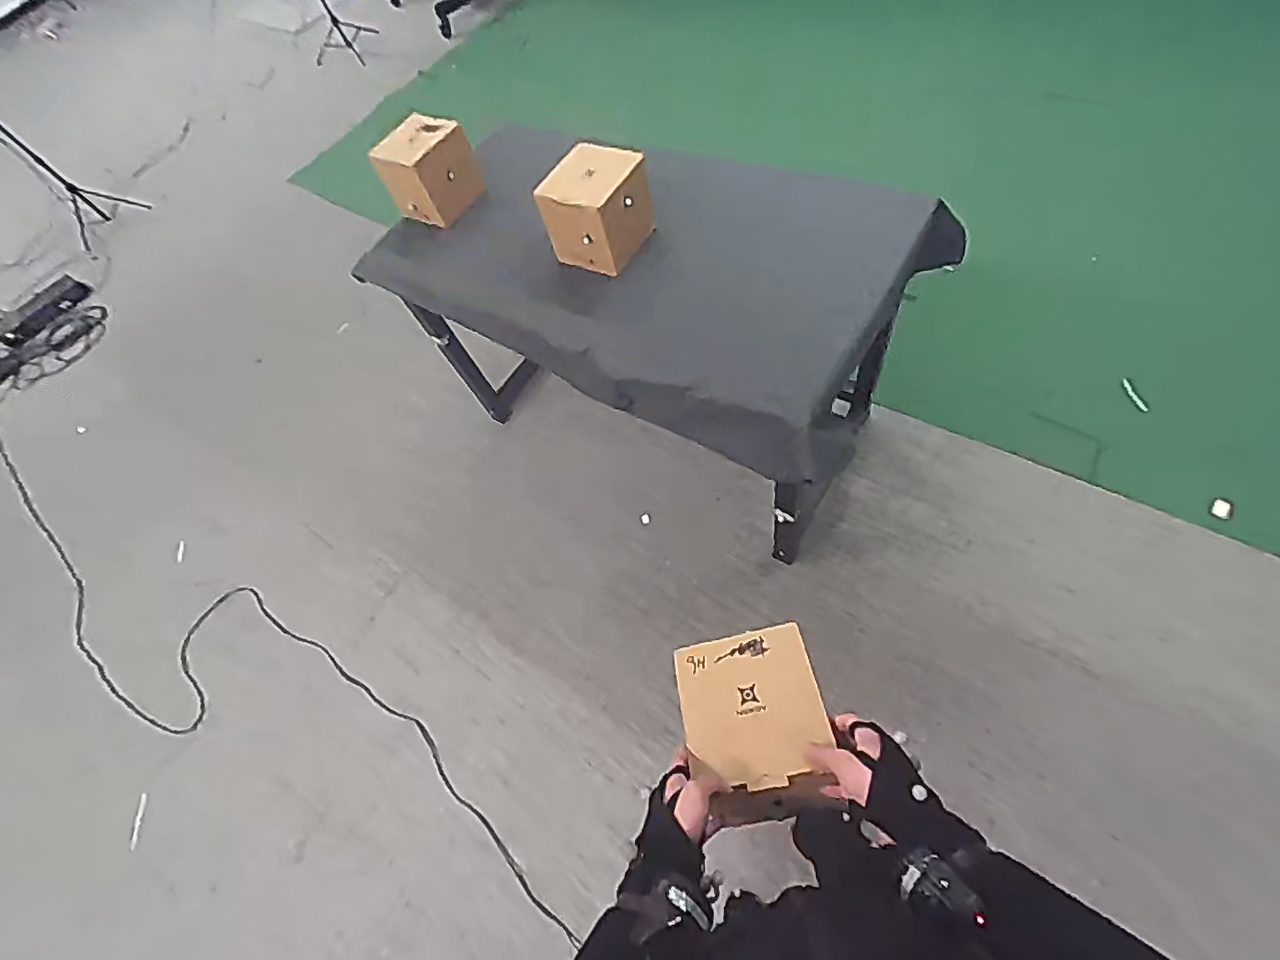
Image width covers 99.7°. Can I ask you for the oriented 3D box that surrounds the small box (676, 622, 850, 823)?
[{"bbox_3d":[0.153,0.310,0.676,0.168,0.176,0.179,-16,44,9],"label":"small box"}]

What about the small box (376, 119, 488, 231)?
[{"bbox_3d":[-0.508,-0.765,1.359,0.168,0.176,0.179,26,69,24],"label":"small box"}]

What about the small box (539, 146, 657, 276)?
[{"bbox_3d":[-0.078,-0.568,1.150,0.168,0.176,0.179,25,68,23],"label":"small box"}]
